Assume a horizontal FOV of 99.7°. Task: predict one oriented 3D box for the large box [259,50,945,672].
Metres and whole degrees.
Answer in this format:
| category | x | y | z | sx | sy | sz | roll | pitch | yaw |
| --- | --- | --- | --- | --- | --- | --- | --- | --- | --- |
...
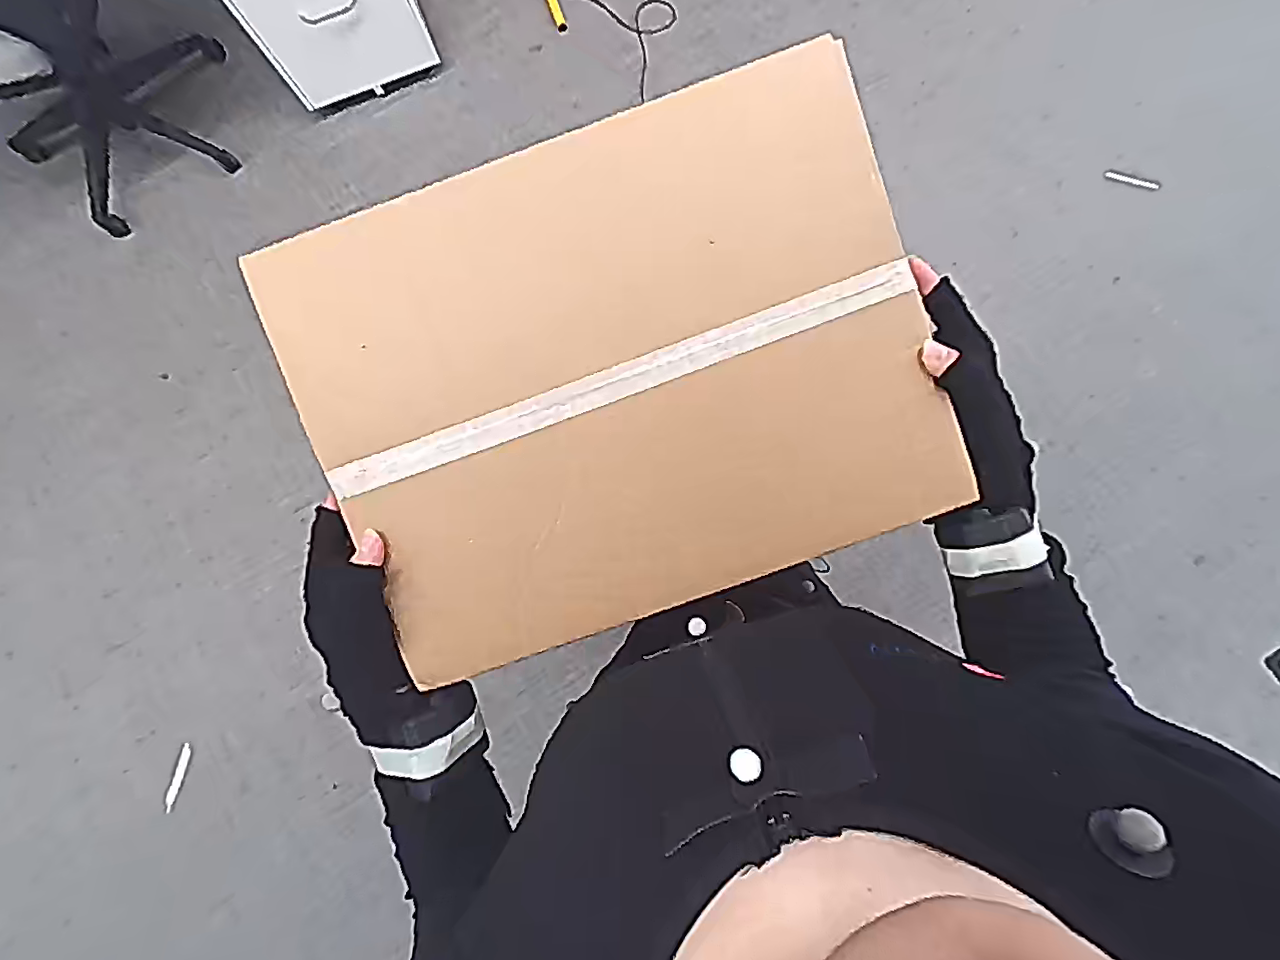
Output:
| category | x | y | z | sx | sy | sz | roll | pitch | yaw |
| --- | --- | --- | --- | --- | --- | --- | --- | --- | --- |
| large box | -0.020 | -0.086 | 0.518 | 0.408 | 0.320 | 0.320 | -20 | 95 | 2 |
